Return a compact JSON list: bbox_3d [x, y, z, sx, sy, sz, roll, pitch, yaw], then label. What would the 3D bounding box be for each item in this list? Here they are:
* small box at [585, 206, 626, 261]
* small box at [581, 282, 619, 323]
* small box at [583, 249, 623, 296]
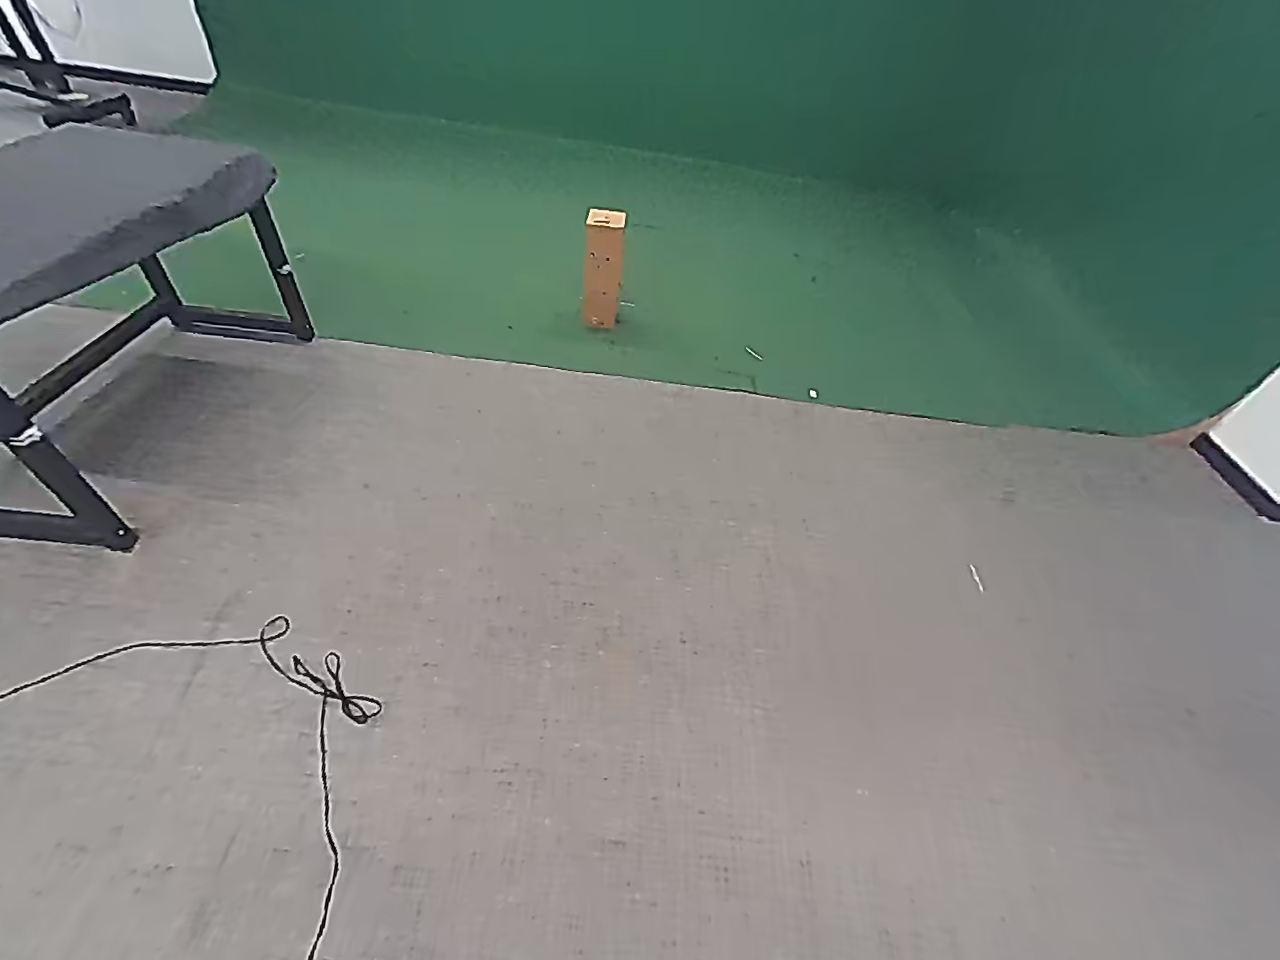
[{"bbox_3d":[-0.157,-1.112,2.441,0.168,0.176,0.179,6,46,-3],"label":"small box"},{"bbox_3d":[-0.196,-0.898,2.662,0.168,0.176,0.179,7,47,0],"label":"small box"},{"bbox_3d":[-0.176,-0.998,2.559,0.168,0.176,0.179,7,45,-1],"label":"small box"}]
